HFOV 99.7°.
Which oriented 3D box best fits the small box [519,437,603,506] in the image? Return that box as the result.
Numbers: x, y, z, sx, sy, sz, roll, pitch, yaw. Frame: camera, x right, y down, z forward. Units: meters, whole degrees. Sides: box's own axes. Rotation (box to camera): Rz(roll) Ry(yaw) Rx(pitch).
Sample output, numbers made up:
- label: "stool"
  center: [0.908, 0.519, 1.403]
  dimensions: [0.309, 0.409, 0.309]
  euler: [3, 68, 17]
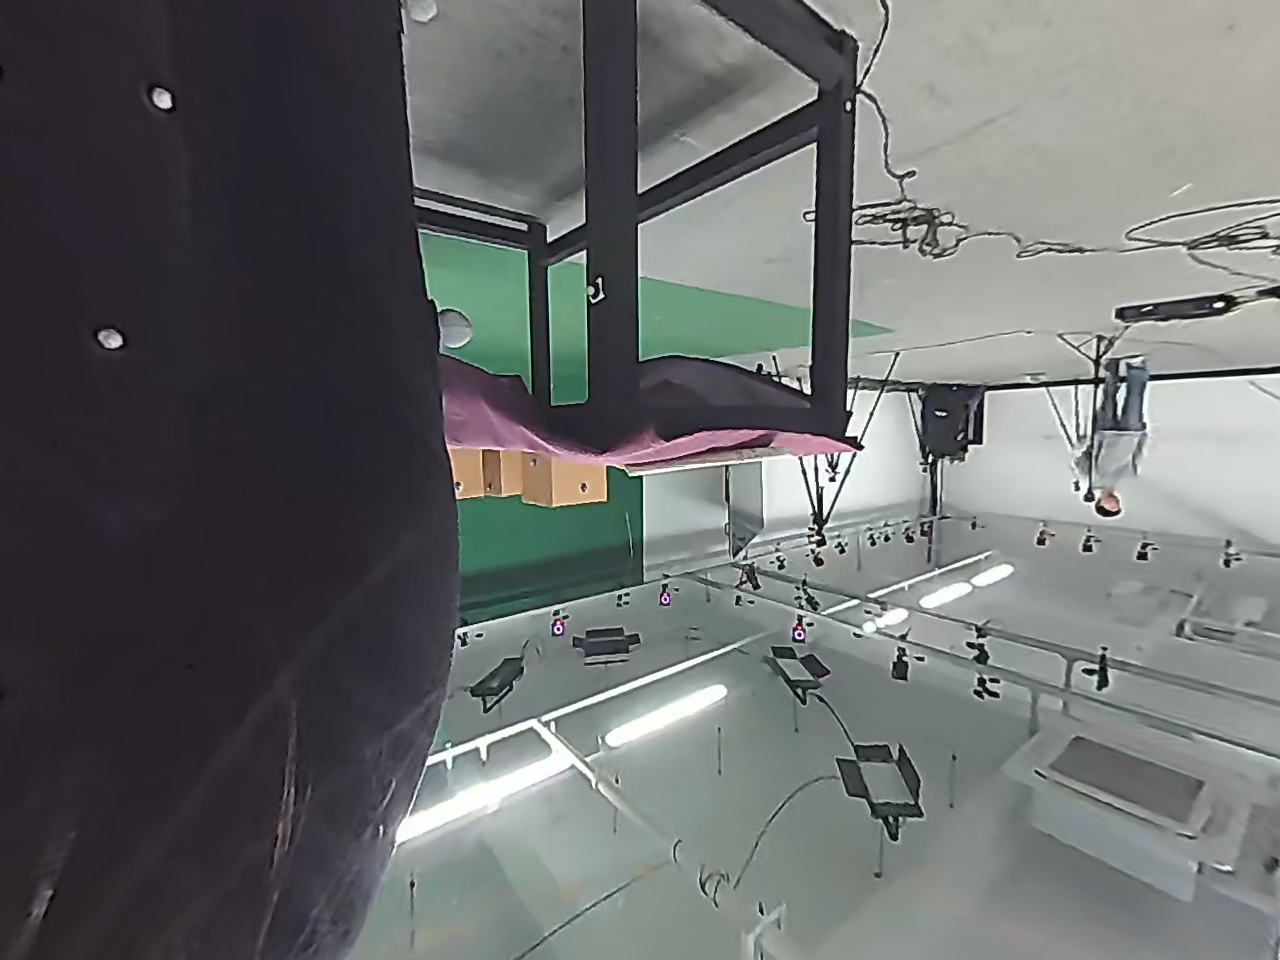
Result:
- label: "small box"
  center: [-0.217, -0.029, 1.483]
  dimensions: [0.179, 0.176, 0.168]
  euler: [-5, -173, -40]

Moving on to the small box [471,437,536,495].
- label: "small box"
  center: [-0.419, -0.051, 1.722]
  dimensions: [0.168, 0.176, 0.179]
  euler: [4, -172, 45]
